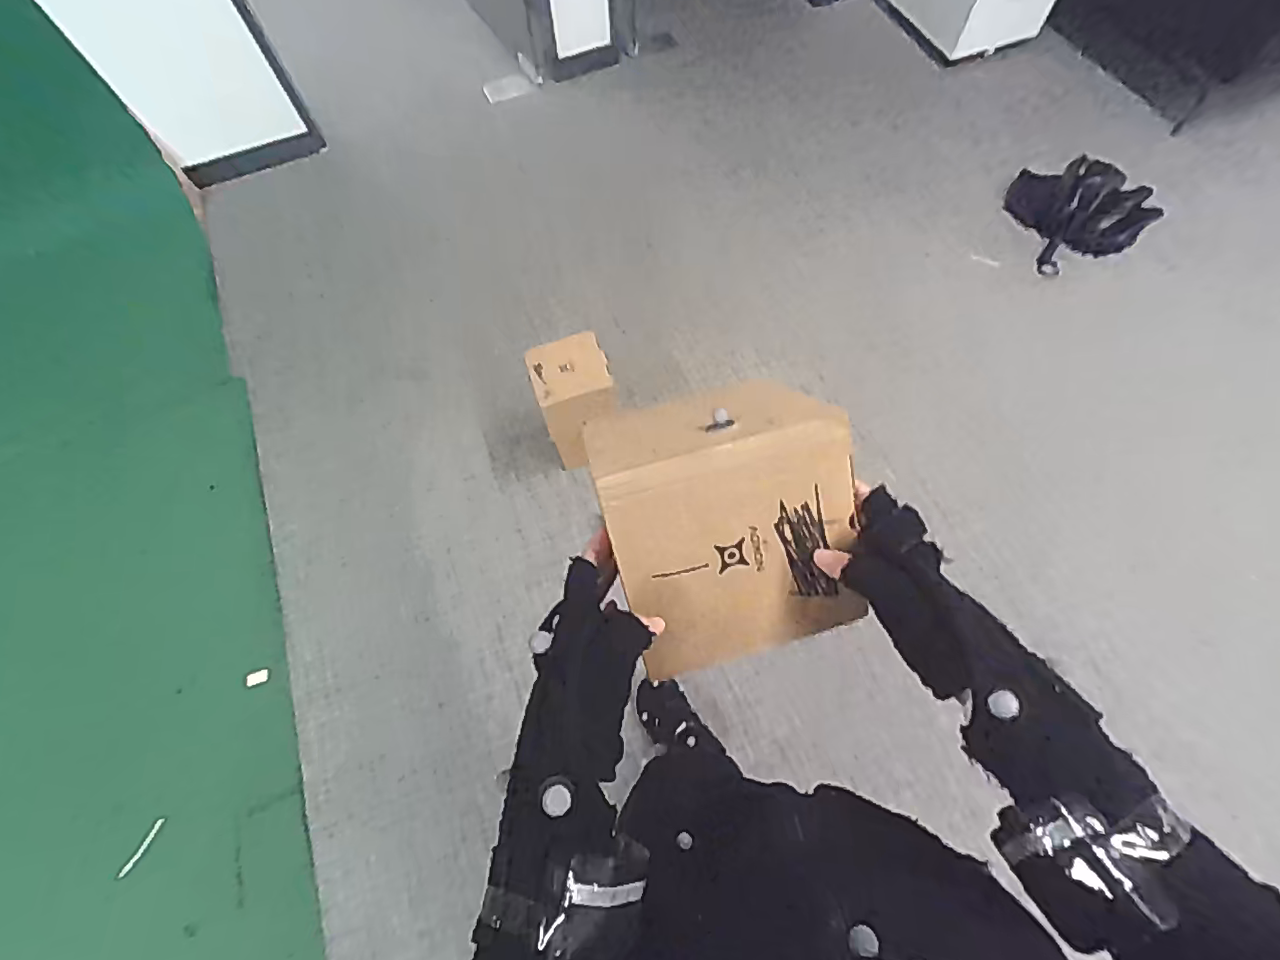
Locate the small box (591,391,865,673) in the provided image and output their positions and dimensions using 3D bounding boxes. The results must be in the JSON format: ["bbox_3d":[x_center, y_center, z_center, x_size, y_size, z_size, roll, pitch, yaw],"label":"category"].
[{"bbox_3d":[0.063,0.027,0.463,0.179,0.176,0.168,-14,107,-4],"label":"small box"}]

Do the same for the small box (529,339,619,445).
[{"bbox_3d":[-0.155,-0.210,1.317,0.179,0.176,0.168,-17,66,-6],"label":"small box"}]

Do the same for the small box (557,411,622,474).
[{"bbox_3d":[-0.144,-0.141,1.465,0.179,0.176,0.168,-20,66,-5],"label":"small box"}]
